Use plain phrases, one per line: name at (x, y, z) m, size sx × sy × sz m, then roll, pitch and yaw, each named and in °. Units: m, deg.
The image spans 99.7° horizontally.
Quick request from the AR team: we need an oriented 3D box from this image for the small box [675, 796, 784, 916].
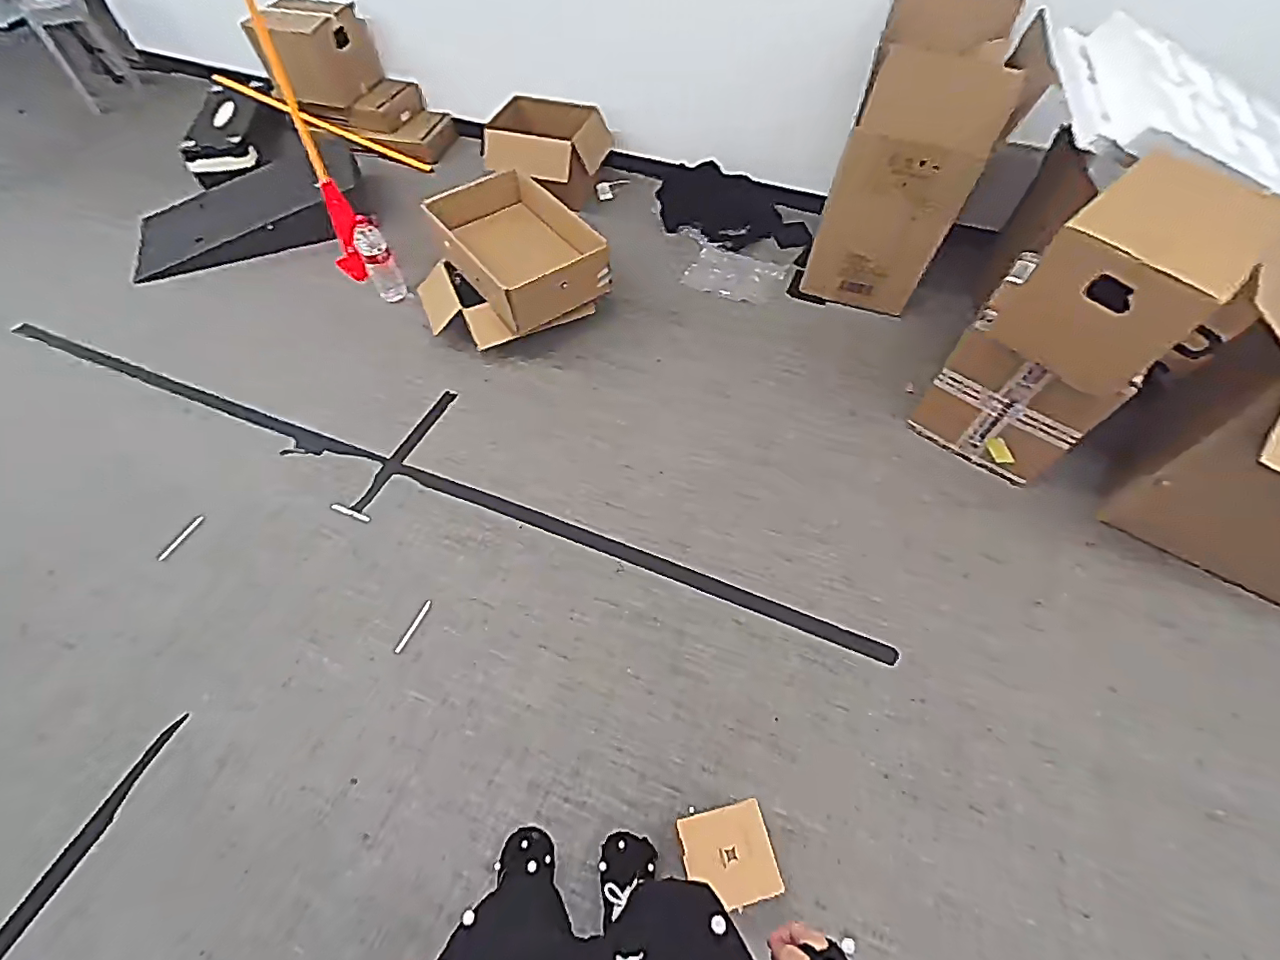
small box at (0.176, 0.780, 1.133) m, size 0.179 × 0.176 × 0.168 m, roll -12°, pitch 59°, yaw -8°
